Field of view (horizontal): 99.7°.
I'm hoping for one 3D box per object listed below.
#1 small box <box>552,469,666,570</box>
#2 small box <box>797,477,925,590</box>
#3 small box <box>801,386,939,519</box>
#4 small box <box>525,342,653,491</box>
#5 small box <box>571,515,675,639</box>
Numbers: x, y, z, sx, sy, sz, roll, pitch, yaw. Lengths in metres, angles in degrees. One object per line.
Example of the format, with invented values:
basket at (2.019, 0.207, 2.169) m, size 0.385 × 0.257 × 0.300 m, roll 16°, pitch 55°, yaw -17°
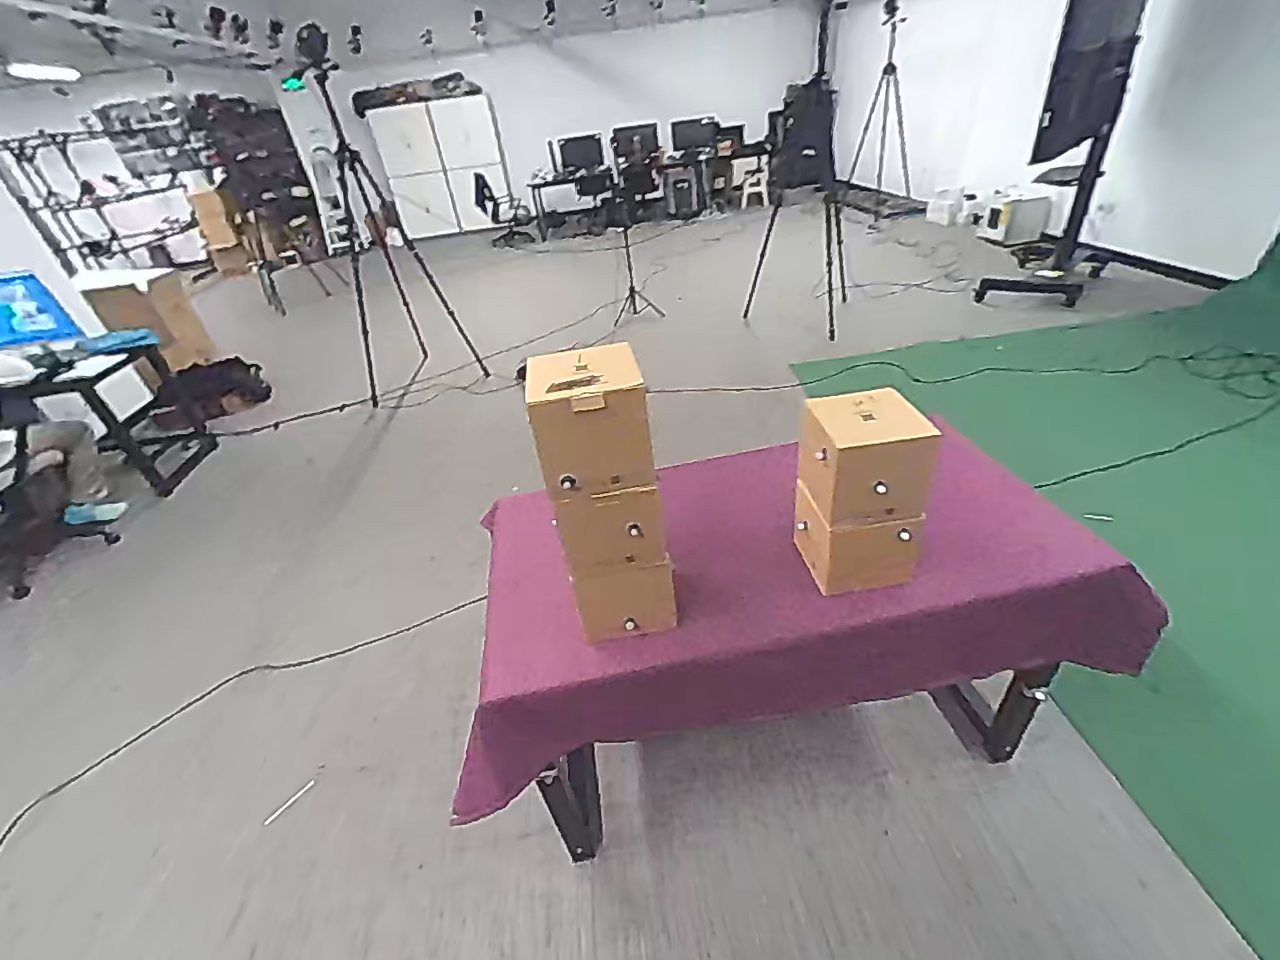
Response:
small box at (-0.050, 0.040, 0.934) m, size 0.168 × 0.176 × 0.179 m, roll -8°, pitch 34°, yaw 0°
small box at (0.413, 0.093, 1.044) m, size 0.179 × 0.176 × 0.168 m, roll -9°, pitch 35°, yaw -1°
small box at (0.392, -0.044, 0.954) m, size 0.168 × 0.176 × 0.179 m, roll -8°, pitch 35°, yaw 1°
small box at (-0.078, -0.095, 0.844) m, size 0.168 × 0.176 × 0.179 m, roll -10°, pitch 34°, yaw -3°
small box at (-0.031, 0.176, 1.023) m, size 0.179 × 0.176 × 0.168 m, roll -9°, pitch 34°, yaw -2°
